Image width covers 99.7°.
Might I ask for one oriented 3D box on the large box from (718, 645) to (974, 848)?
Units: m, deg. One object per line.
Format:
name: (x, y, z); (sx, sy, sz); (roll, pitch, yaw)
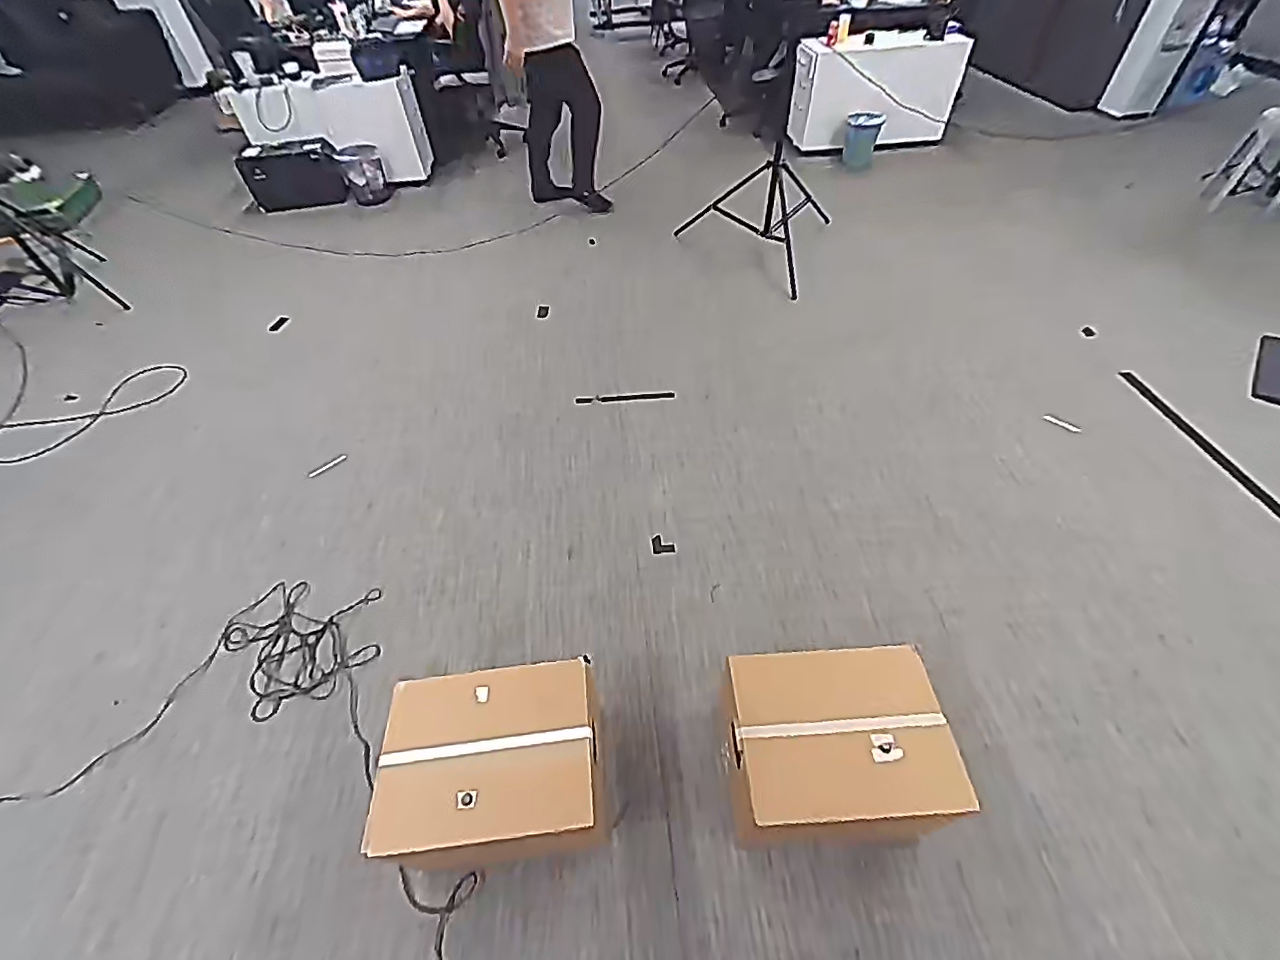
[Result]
large box: (0.401, 0.582, 1.176); (0.408, 0.320, 0.320); (-3, 49, -1)
